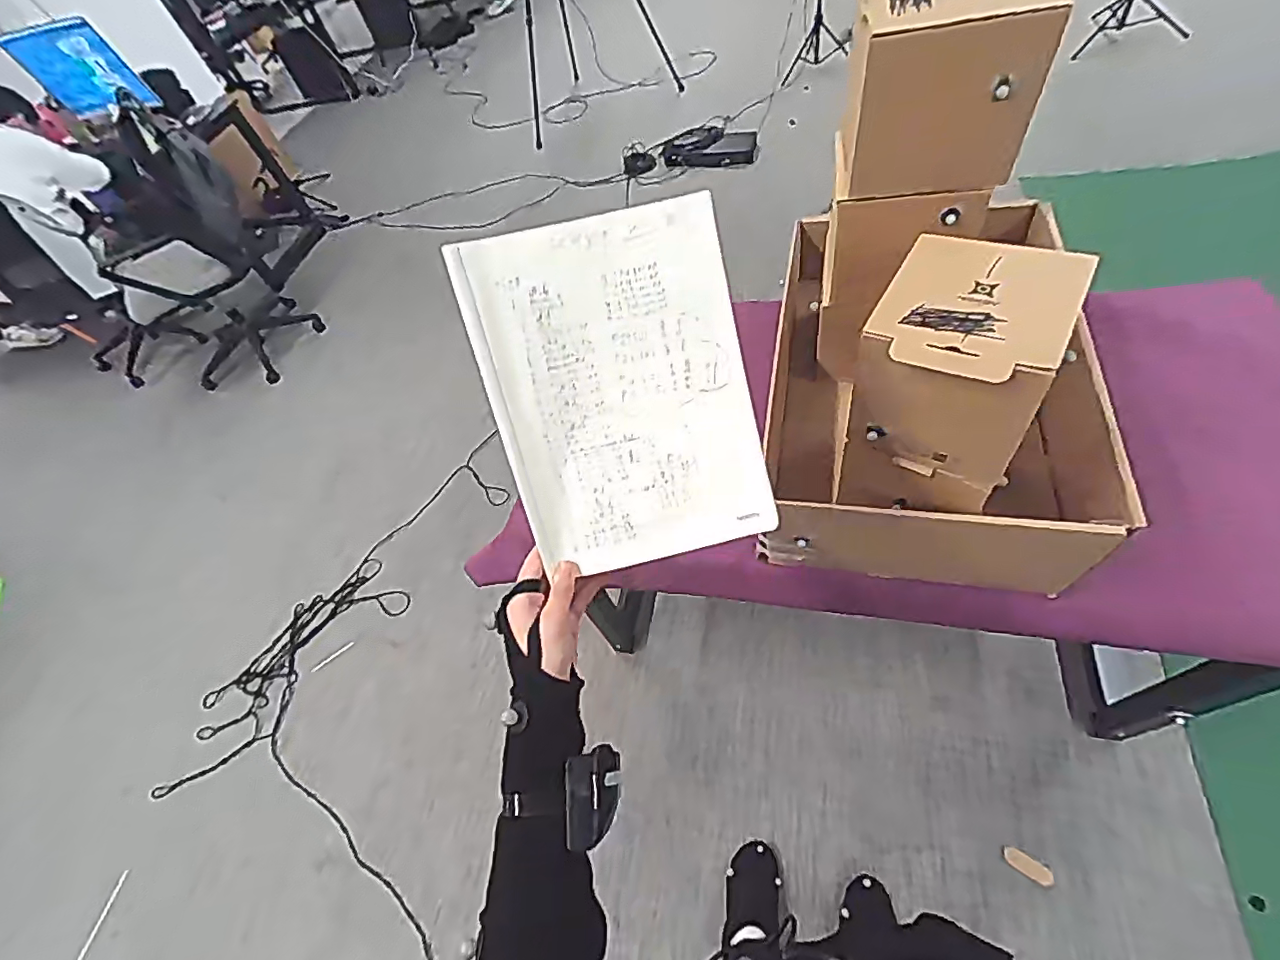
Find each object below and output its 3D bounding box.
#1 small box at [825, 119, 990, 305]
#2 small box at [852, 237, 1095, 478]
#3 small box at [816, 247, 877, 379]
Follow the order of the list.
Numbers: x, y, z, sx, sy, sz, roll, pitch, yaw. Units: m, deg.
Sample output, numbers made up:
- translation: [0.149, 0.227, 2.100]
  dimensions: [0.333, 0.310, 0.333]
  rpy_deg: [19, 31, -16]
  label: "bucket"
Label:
- translation: [0.353, -0.361, 0.751]
  dimensions: [0.179, 0.176, 0.168]
  rpy_deg: [3, 58, 15]
  label: "small box"
- translation: [0.343, -0.131, 0.587]
  dimensions: [0.168, 0.176, 0.179]
  rpy_deg: [23, 63, 28]
  label: "small box"
- translation: [0.382, -0.276, 0.886]
  dimensions: [0.168, 0.176, 0.179]
  rpy_deg: [5, 59, 17]
  label: "small box"
